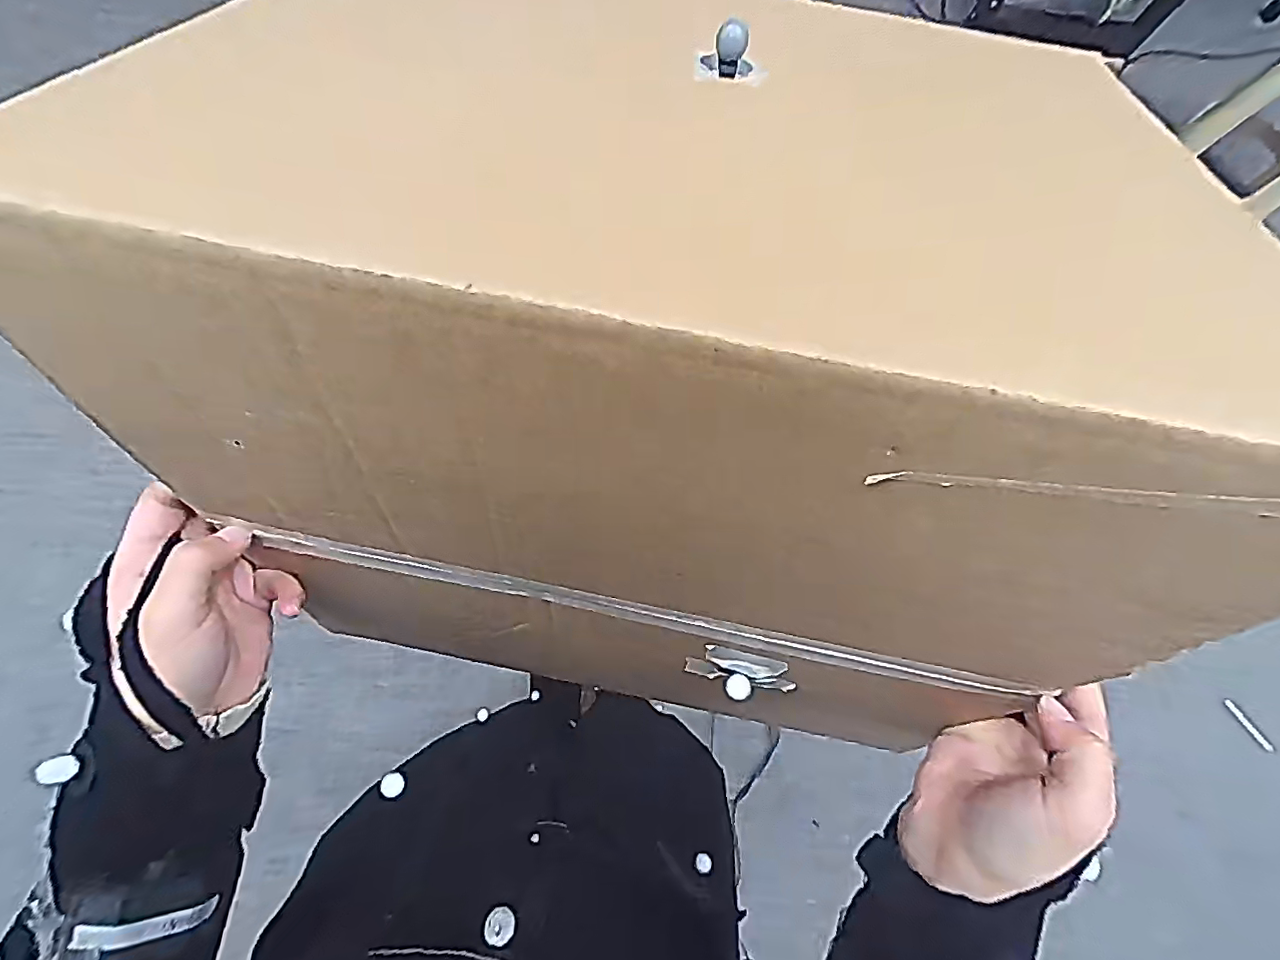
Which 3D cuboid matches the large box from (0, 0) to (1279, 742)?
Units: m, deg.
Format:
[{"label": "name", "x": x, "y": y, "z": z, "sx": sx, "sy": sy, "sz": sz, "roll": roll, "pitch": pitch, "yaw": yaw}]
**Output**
[{"label": "large box", "x": 0.016, "y": -0.062, "z": 0.348, "sx": 0.408, "sy": 0.320, "sz": 0.320, "roll": 11, "pitch": 55, "yaw": 1}]
